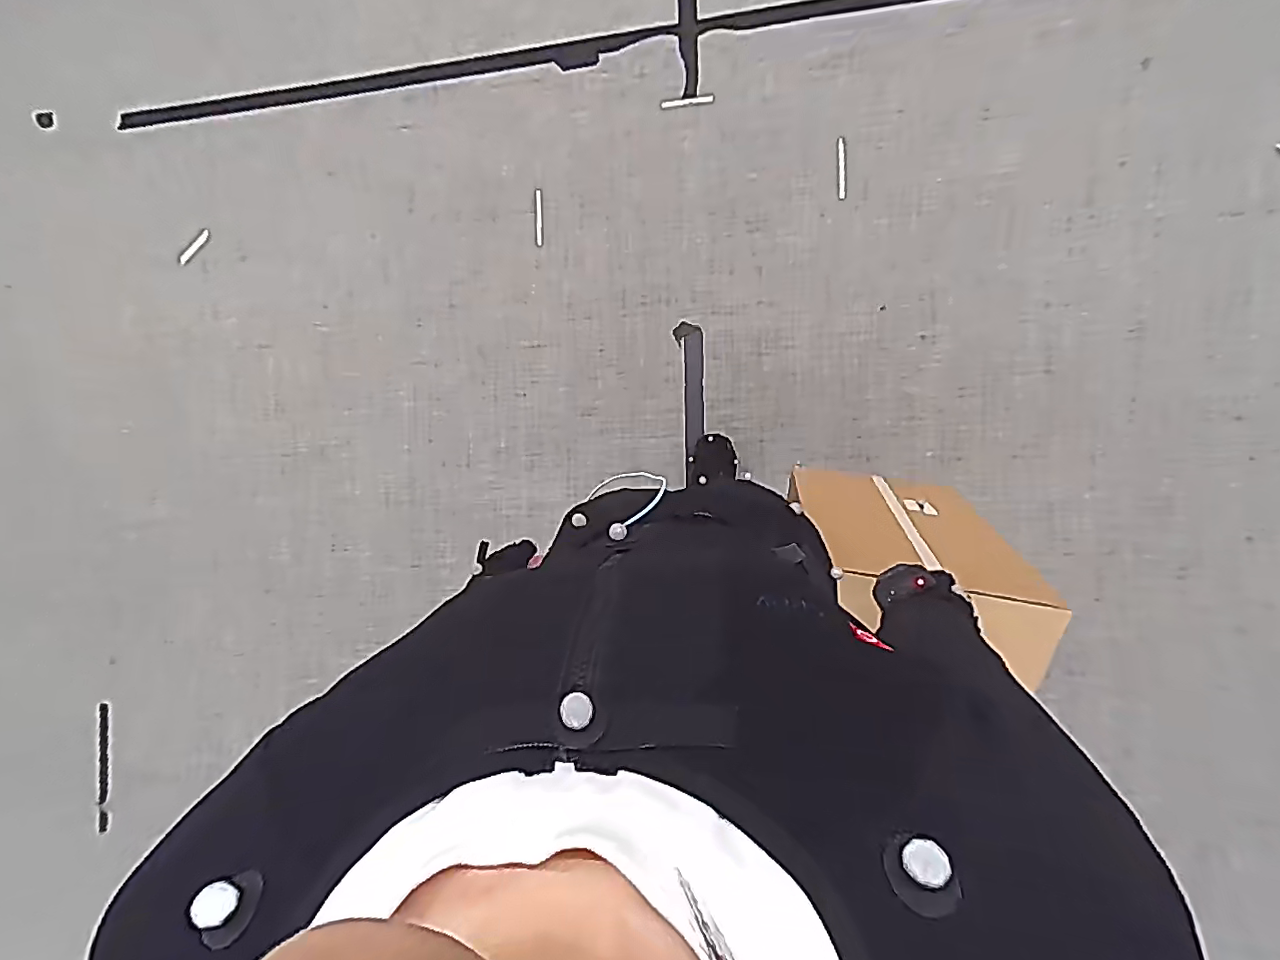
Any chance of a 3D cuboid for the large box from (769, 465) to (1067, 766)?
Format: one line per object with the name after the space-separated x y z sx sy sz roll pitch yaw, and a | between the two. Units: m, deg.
0.410 0.199 0.931 0.320 0.408 0.320 9 112 7 | large box
